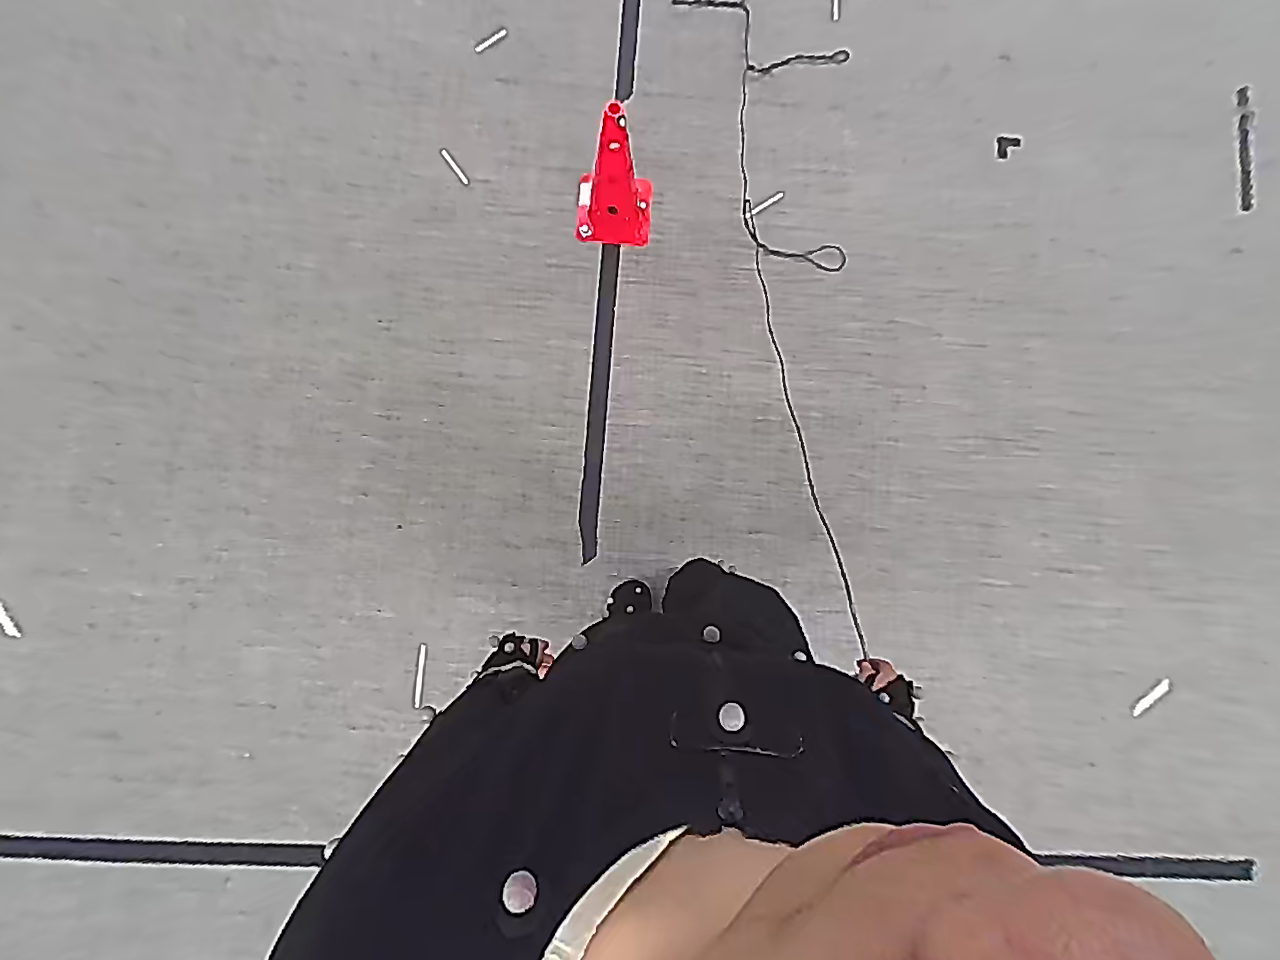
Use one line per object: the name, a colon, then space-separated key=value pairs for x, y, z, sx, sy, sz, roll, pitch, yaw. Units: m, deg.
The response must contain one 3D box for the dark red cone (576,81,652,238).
dark red cone: x=-0.059 y=-0.771 z=1.294 sx=0.201 sy=0.394 sz=0.202 roll=3 pitch=83 yaw=-4
